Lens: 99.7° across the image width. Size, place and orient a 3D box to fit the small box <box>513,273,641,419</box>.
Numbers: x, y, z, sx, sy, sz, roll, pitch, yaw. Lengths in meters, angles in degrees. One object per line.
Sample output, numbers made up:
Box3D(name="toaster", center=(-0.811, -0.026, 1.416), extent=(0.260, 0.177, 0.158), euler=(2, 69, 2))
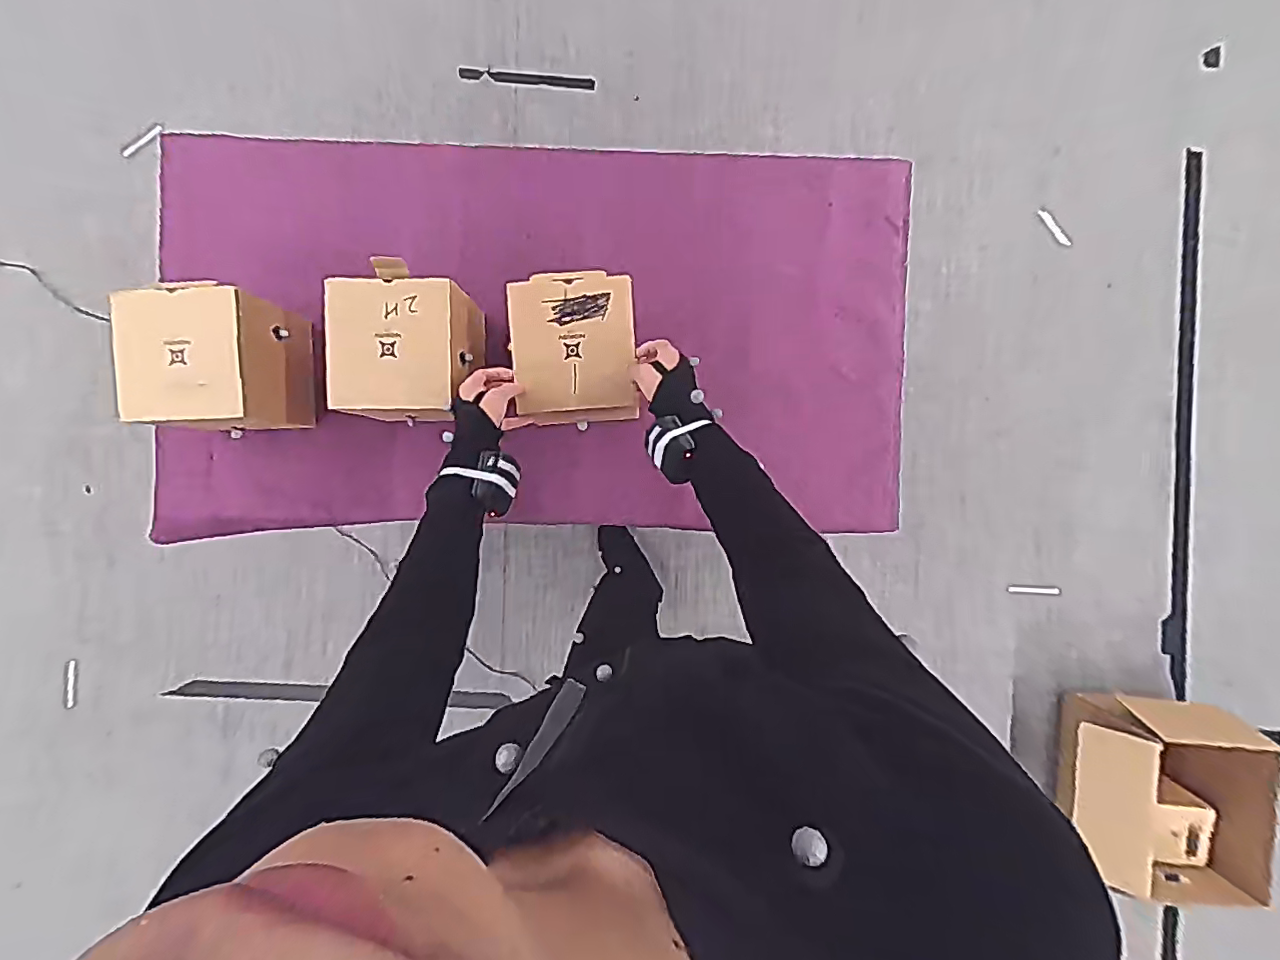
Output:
Box3D(name="small box", center=(-0.087, -0.188, 0.800), extent=(0.168, 0.176, 0.179), euler=(-3, 92, -1))

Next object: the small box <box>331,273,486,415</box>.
Box3D(name="small box", center=(-0.328, -0.188, 0.796), extent=(0.168, 0.176, 0.179), euler=(0, 91, -2))

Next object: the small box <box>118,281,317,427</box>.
Box3D(name="small box", center=(-0.603, -0.174, 0.792), extent=(0.168, 0.176, 0.179), euler=(-2, 91, 0))
